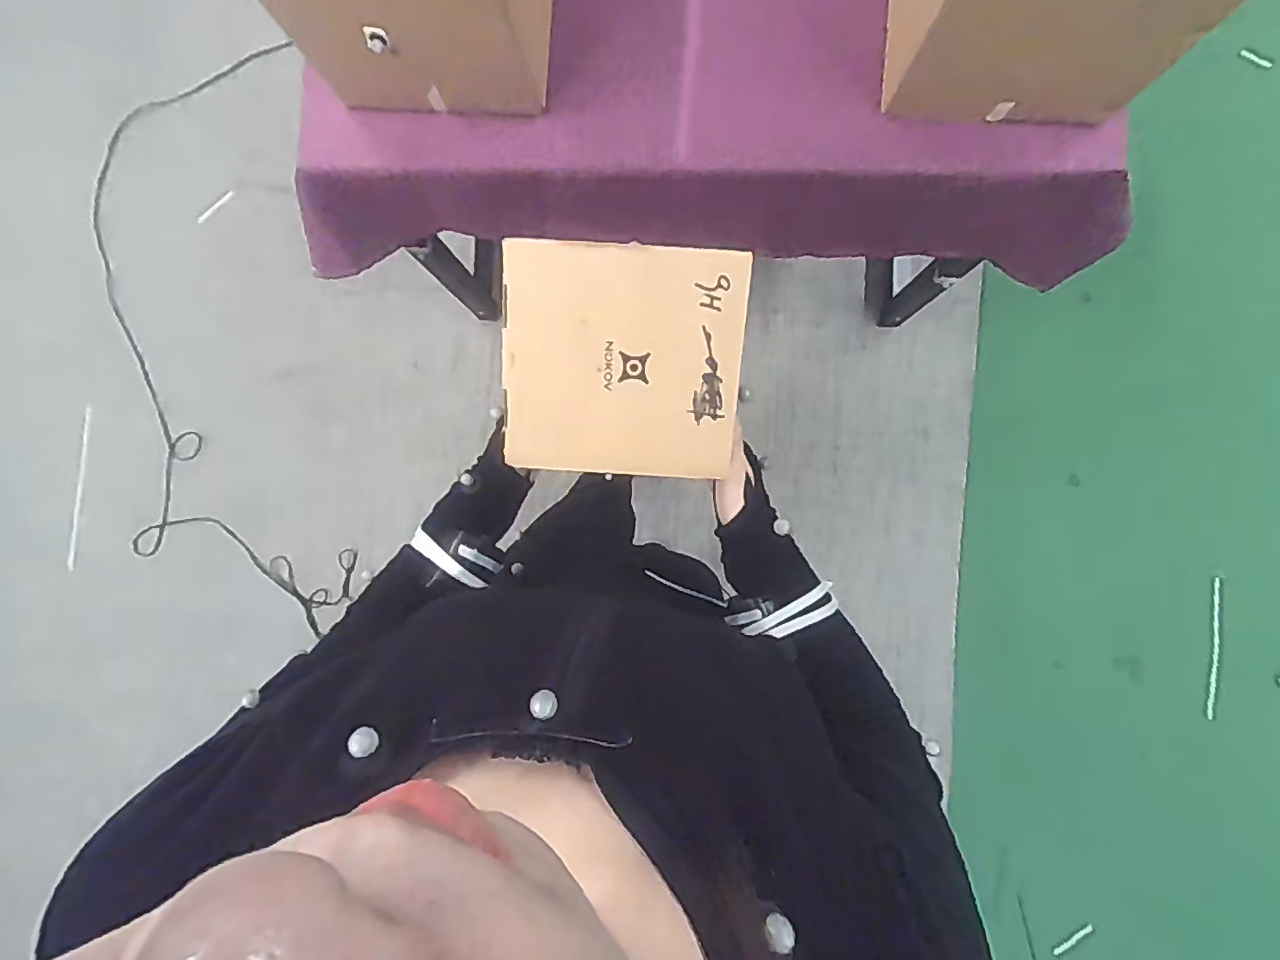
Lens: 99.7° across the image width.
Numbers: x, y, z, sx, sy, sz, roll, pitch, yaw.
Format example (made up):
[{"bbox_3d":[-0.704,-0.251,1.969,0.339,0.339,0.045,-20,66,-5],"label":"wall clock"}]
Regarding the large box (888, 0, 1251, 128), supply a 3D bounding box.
[{"bbox_3d":[0.517,-0.717,0.634,0.320,0.320,0.408,5,89,3],"label":"large box"}]
